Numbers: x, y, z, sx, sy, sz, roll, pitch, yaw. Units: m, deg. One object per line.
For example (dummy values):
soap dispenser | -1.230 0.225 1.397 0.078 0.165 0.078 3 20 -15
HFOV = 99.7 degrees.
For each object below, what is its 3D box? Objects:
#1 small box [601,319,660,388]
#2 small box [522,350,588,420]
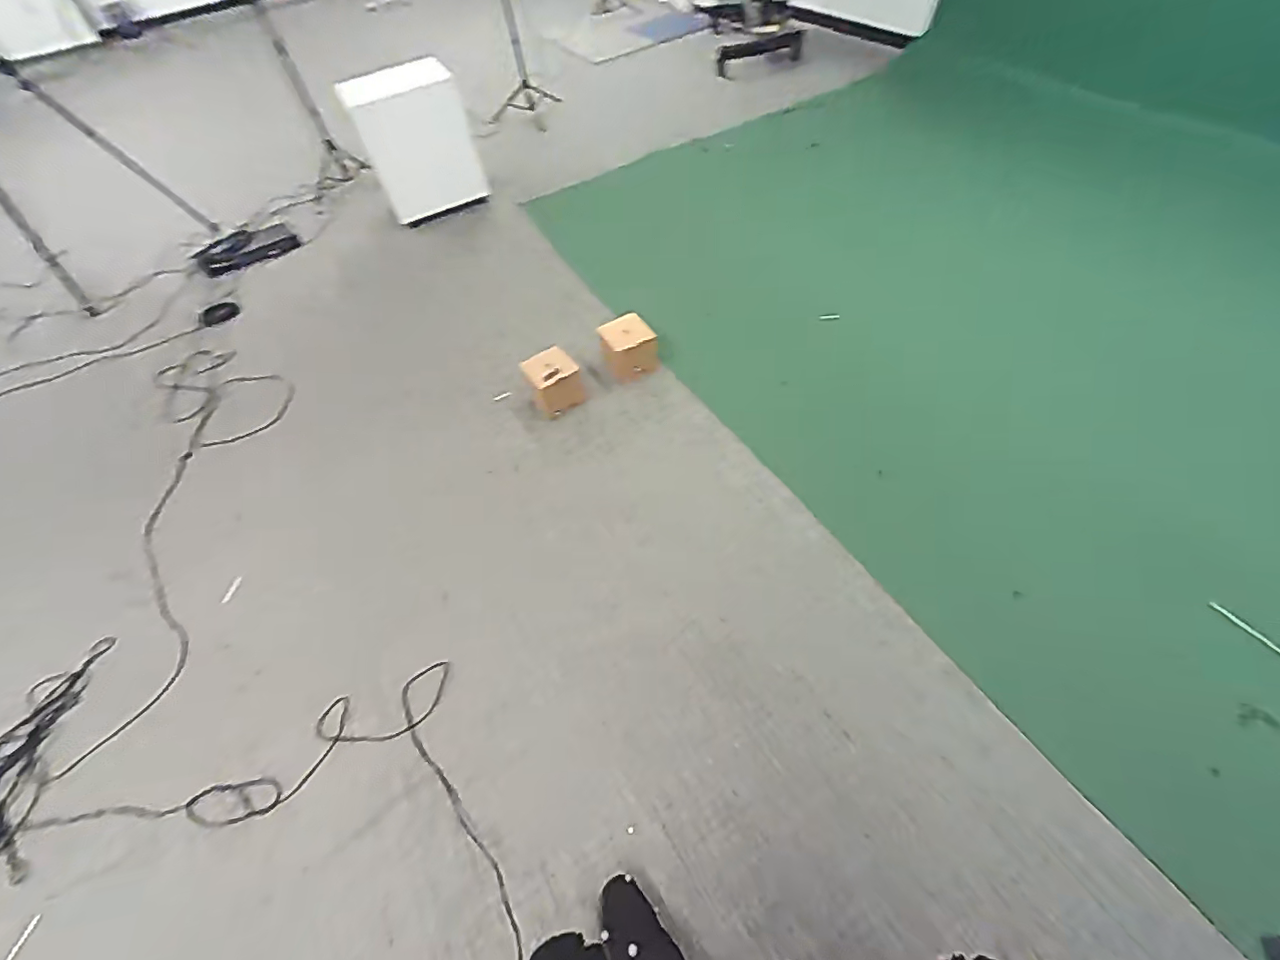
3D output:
small box | -0.035 -0.494 2.115 0.168 0.176 0.179 -27 56 -13
small box | -0.314 -0.349 2.035 0.168 0.176 0.179 -31 56 -17
